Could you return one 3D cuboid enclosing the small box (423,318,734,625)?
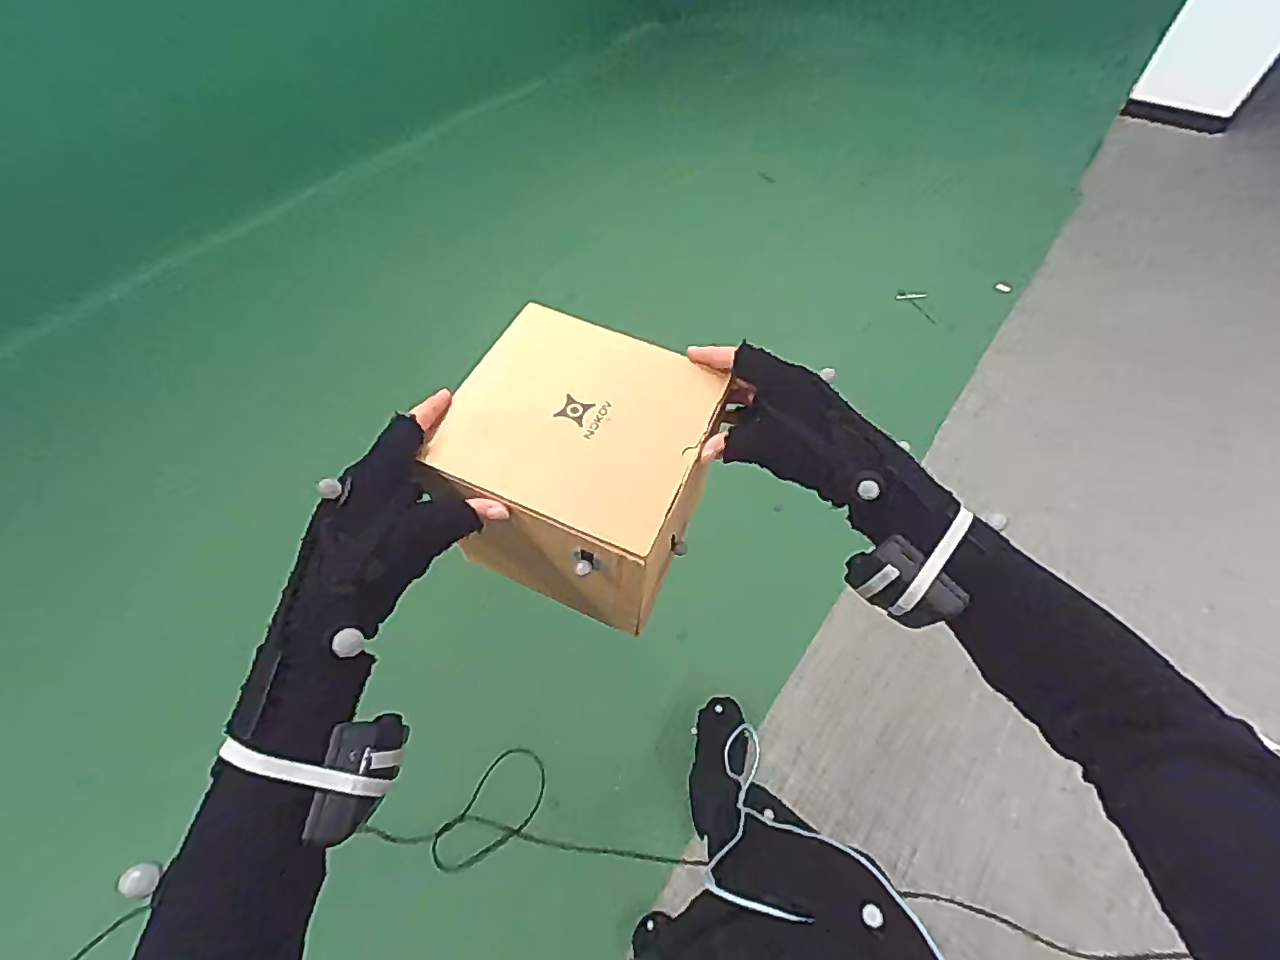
[{"bbox_3d":[-0.042,0.000,0.458,0.179,0.176,0.168,22,60,10],"label":"small box"}]
